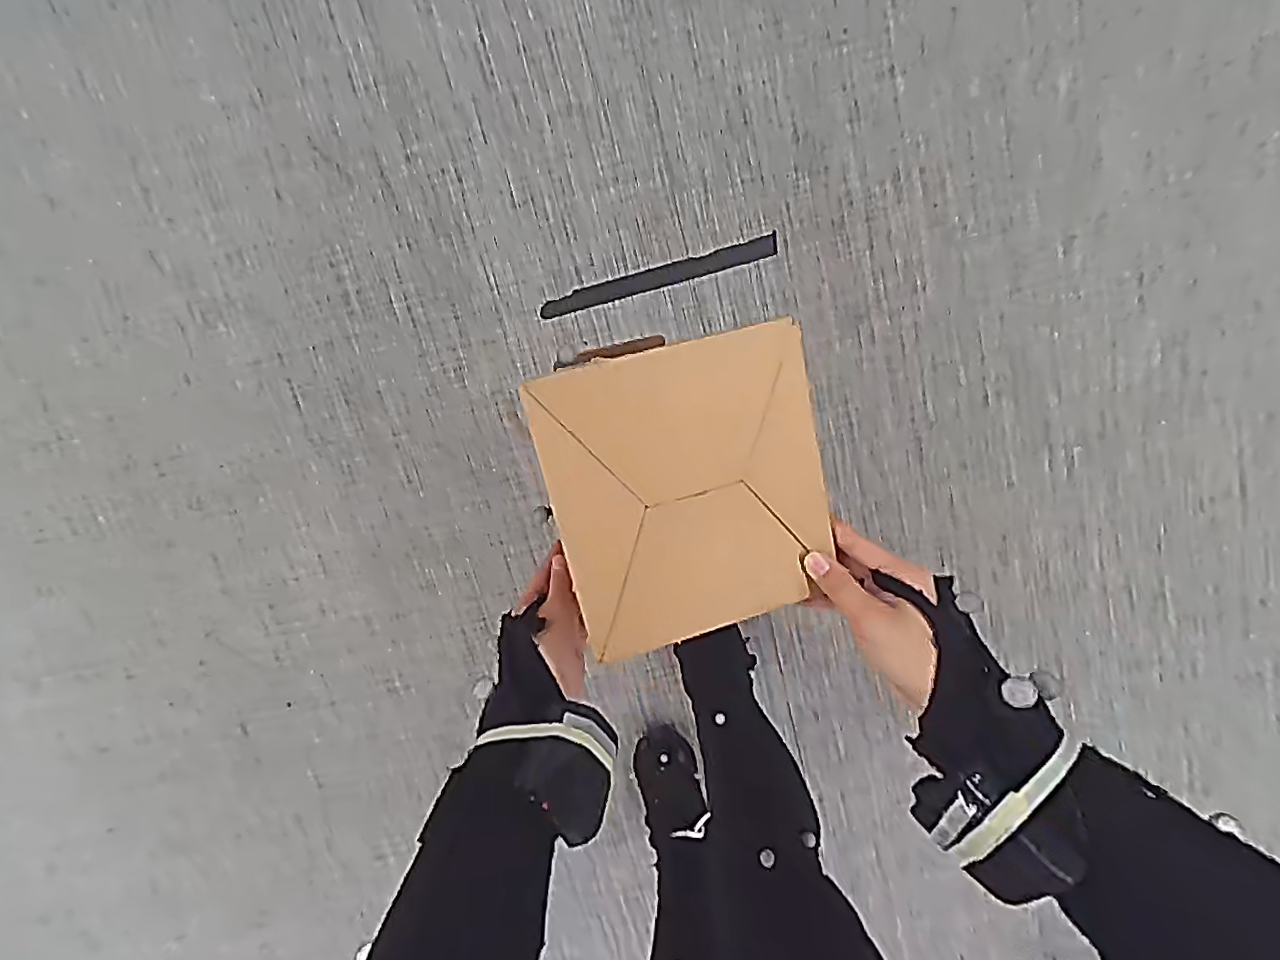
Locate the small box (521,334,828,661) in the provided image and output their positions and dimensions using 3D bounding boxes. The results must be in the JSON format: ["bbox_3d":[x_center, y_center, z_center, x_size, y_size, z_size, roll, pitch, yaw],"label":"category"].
[{"bbox_3d":[0.017,-0.002,0.400,0.168,0.176,0.179,-15,102,-10],"label":"small box"}]
